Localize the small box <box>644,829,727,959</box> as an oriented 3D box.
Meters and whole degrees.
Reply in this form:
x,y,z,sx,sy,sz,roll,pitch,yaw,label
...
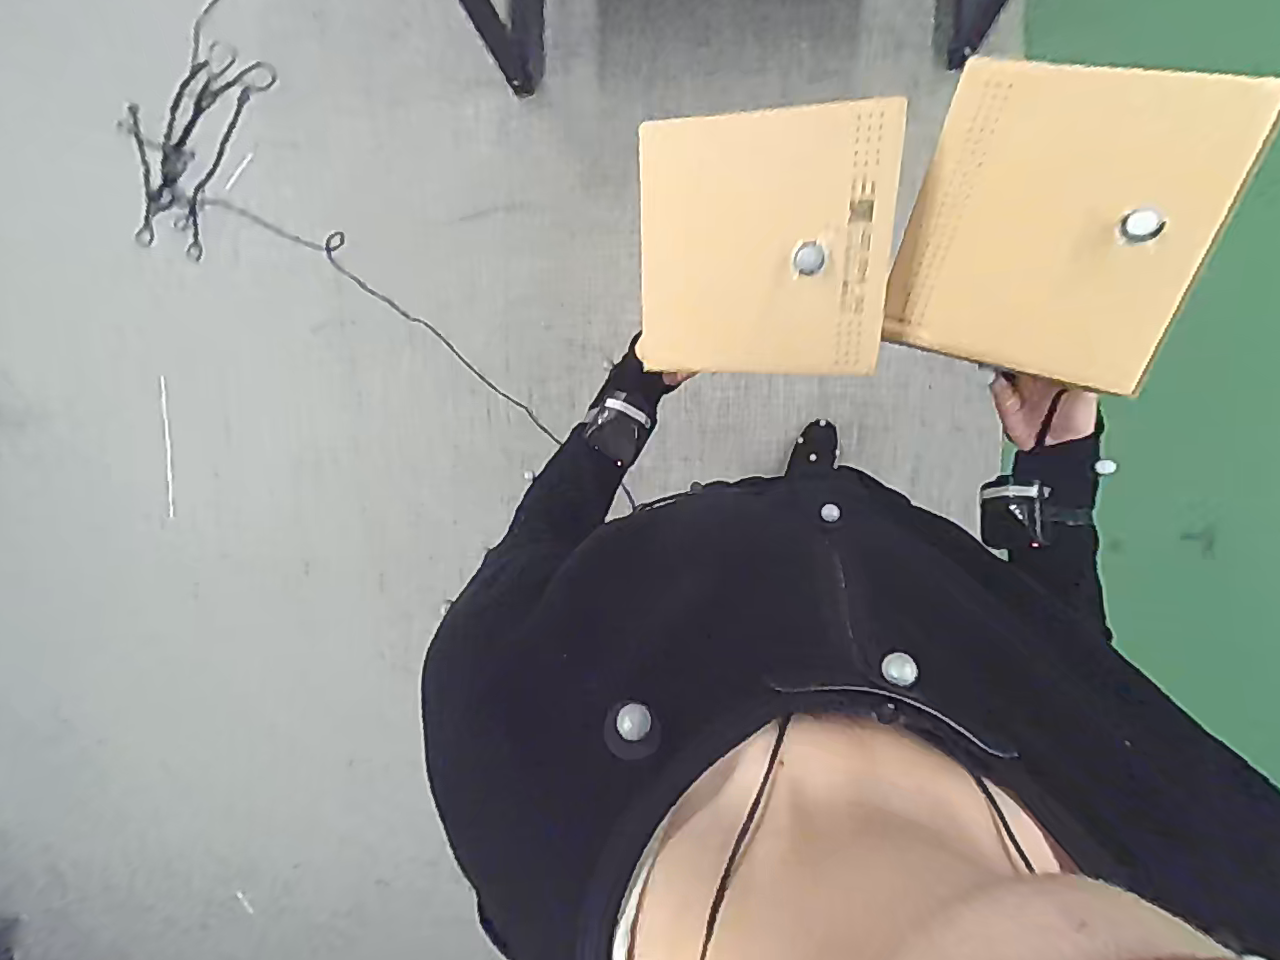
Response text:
x,y,z,sx,sy,sz,roll,pitch,yaw,label
0.113,0.984,1.294,0.168,0.176,0.179,10,94,10,small box

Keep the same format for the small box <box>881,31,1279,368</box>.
x,y,z,sx,sy,sz,roll,pitch,yaw,label
0.290,-0.191,0.403,0.176,0.168,0.179,21,109,21,small box
